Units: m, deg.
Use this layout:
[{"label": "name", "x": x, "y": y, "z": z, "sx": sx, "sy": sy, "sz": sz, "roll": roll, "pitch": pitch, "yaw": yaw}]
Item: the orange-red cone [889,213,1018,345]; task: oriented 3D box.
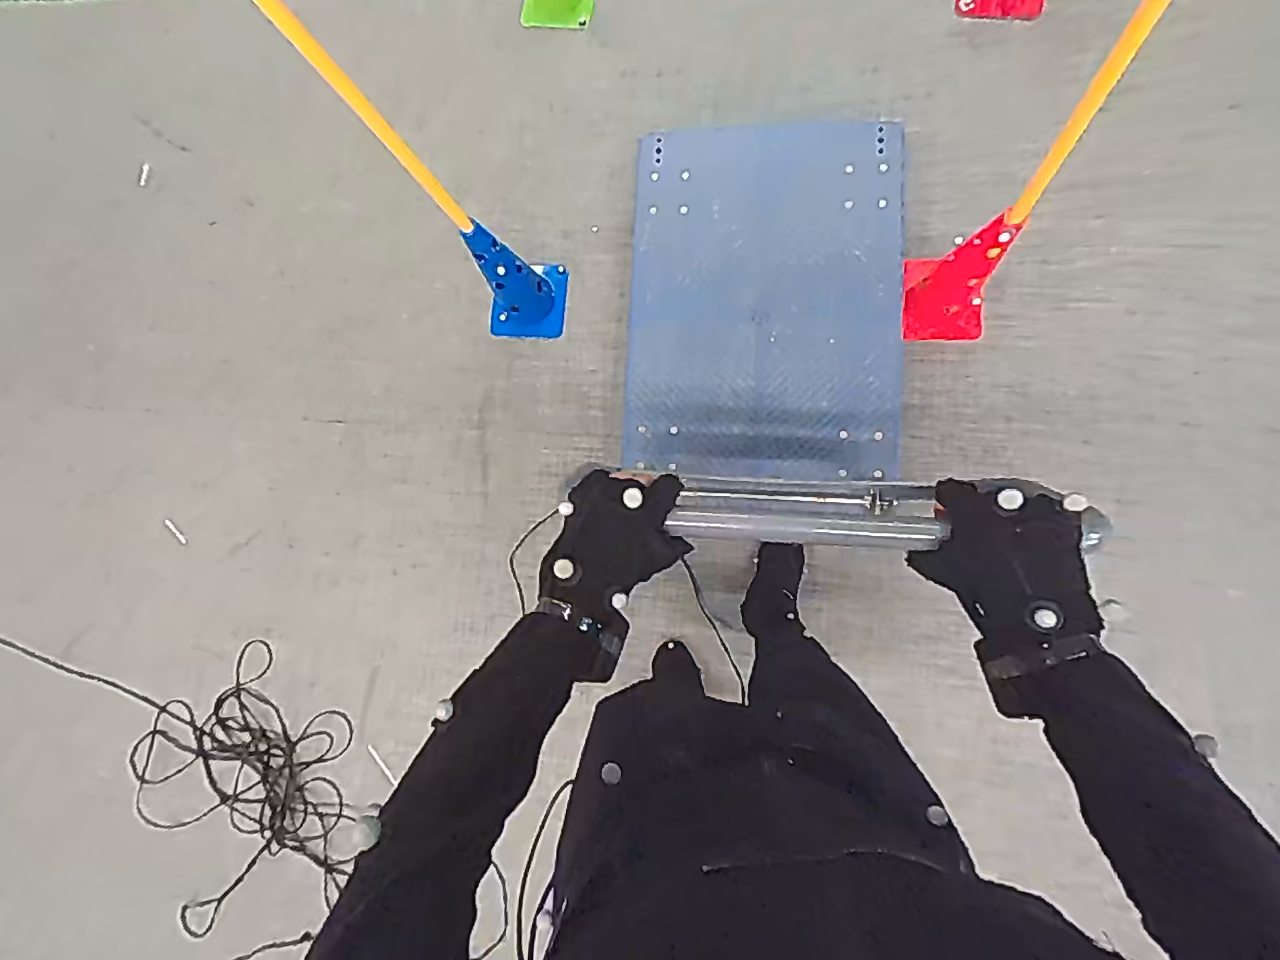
[{"label": "orange-red cone", "x": 0.676, "y": -0.436, "z": 1.128, "sx": 0.199, "sy": 0.360, "sz": 0.198, "roll": 4, "pitch": 85, "yaw": 10}]

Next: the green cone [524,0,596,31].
[{"label": "green cone", "x": -0.242, "y": -1.361, "z": 1.334, "sx": 0.202, "sy": 0.368, "sz": 0.200, "roll": 9, "pitch": 86, "yaw": 9}]
